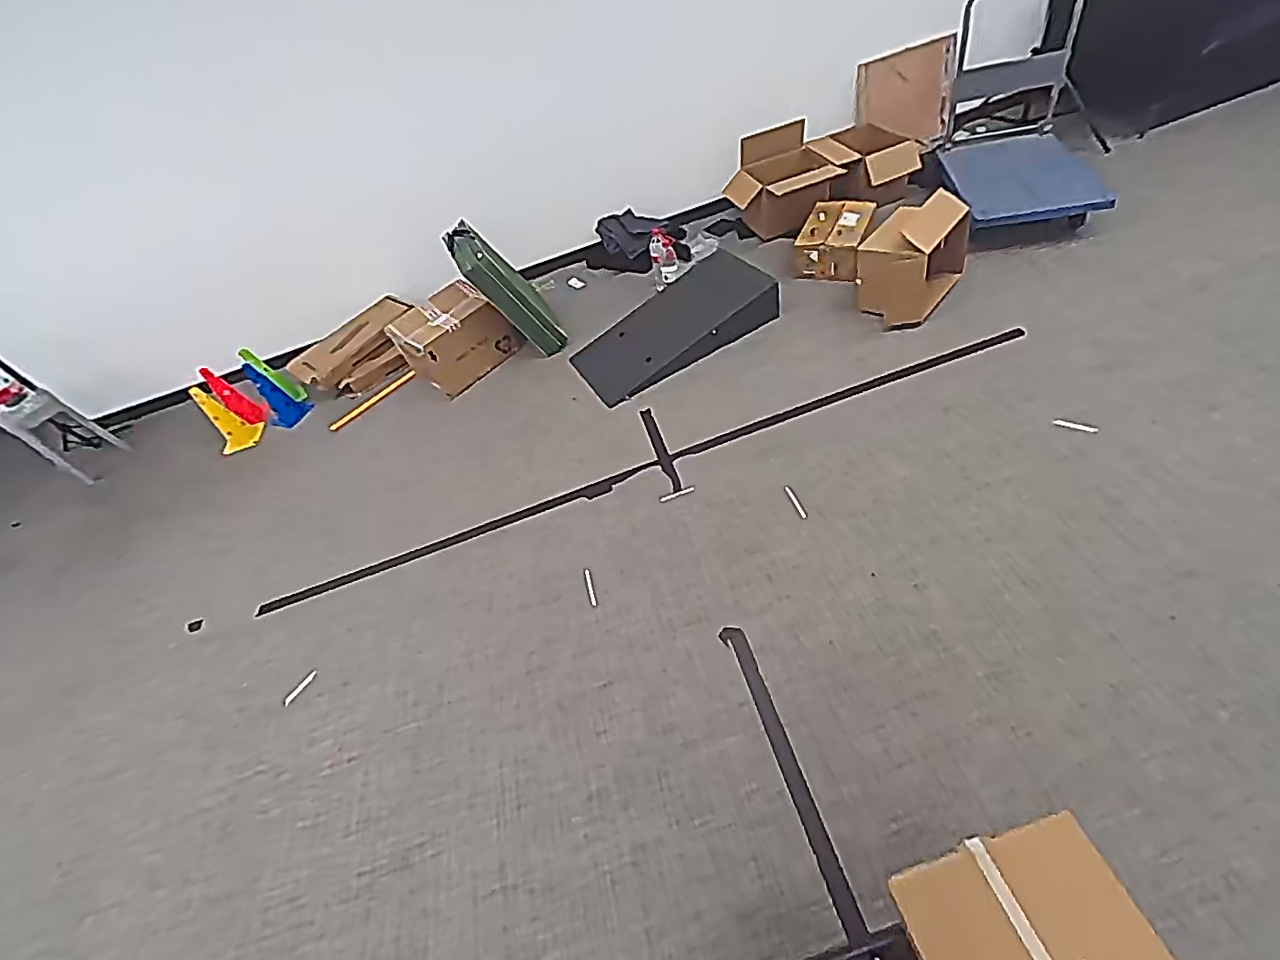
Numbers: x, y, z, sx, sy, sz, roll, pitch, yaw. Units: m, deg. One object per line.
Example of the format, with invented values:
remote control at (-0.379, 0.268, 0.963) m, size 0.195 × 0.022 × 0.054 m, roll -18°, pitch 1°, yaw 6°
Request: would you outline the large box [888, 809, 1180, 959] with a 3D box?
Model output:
large box at (0.651, 0.811, 0.859) m, size 0.320 × 0.320 × 0.408 m, roll -25°, pitch 49°, yaw 5°
